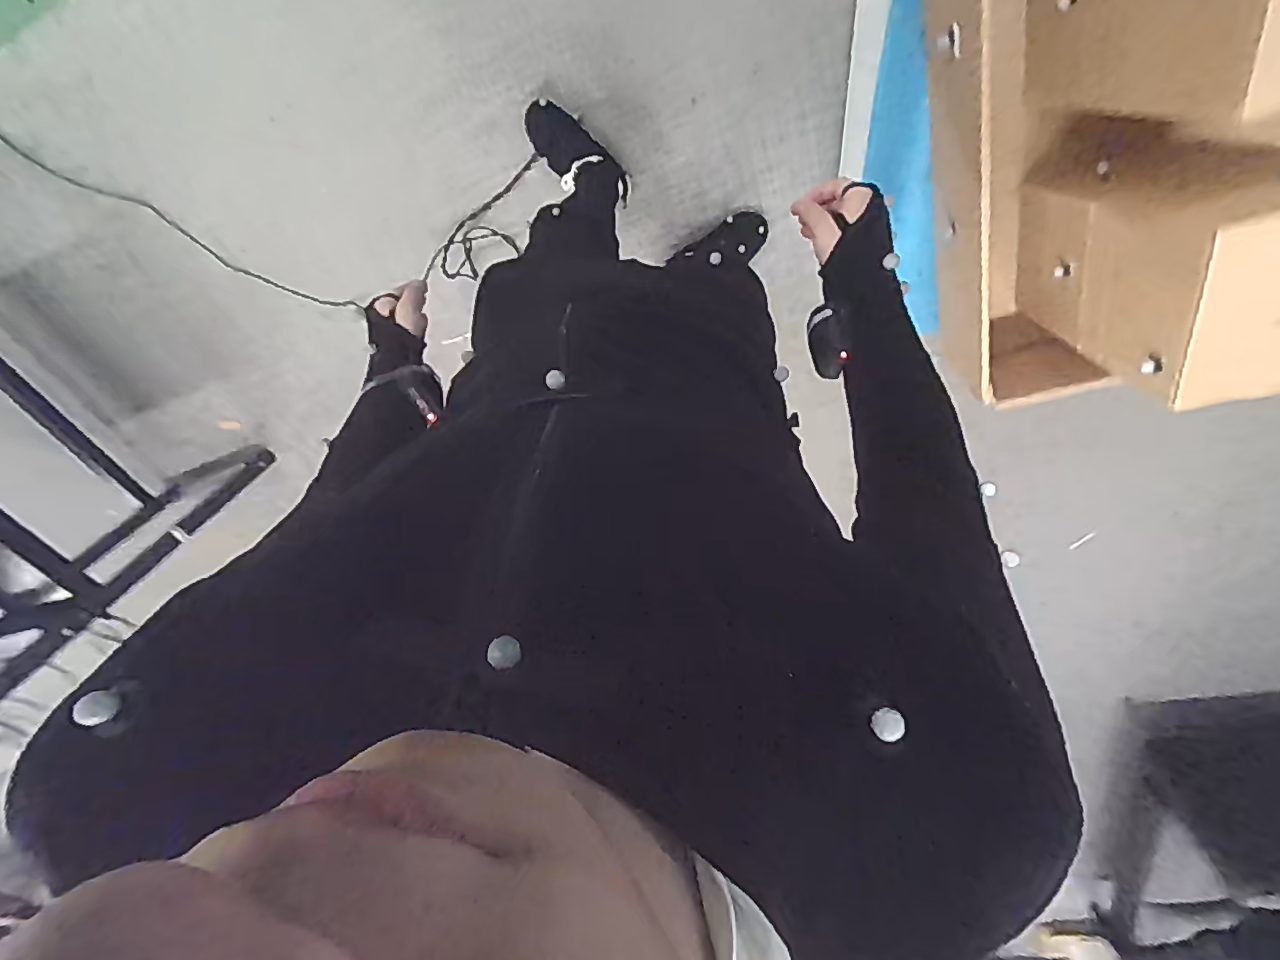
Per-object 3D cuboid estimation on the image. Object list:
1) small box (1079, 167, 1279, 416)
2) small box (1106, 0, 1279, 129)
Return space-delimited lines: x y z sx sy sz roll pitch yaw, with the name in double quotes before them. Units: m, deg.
"small box" 0.579 -0.192 0.536 0.168 0.176 0.179 -12 123 14
"small box" 0.493 -0.389 0.399 0.168 0.176 0.179 -13 124 15
